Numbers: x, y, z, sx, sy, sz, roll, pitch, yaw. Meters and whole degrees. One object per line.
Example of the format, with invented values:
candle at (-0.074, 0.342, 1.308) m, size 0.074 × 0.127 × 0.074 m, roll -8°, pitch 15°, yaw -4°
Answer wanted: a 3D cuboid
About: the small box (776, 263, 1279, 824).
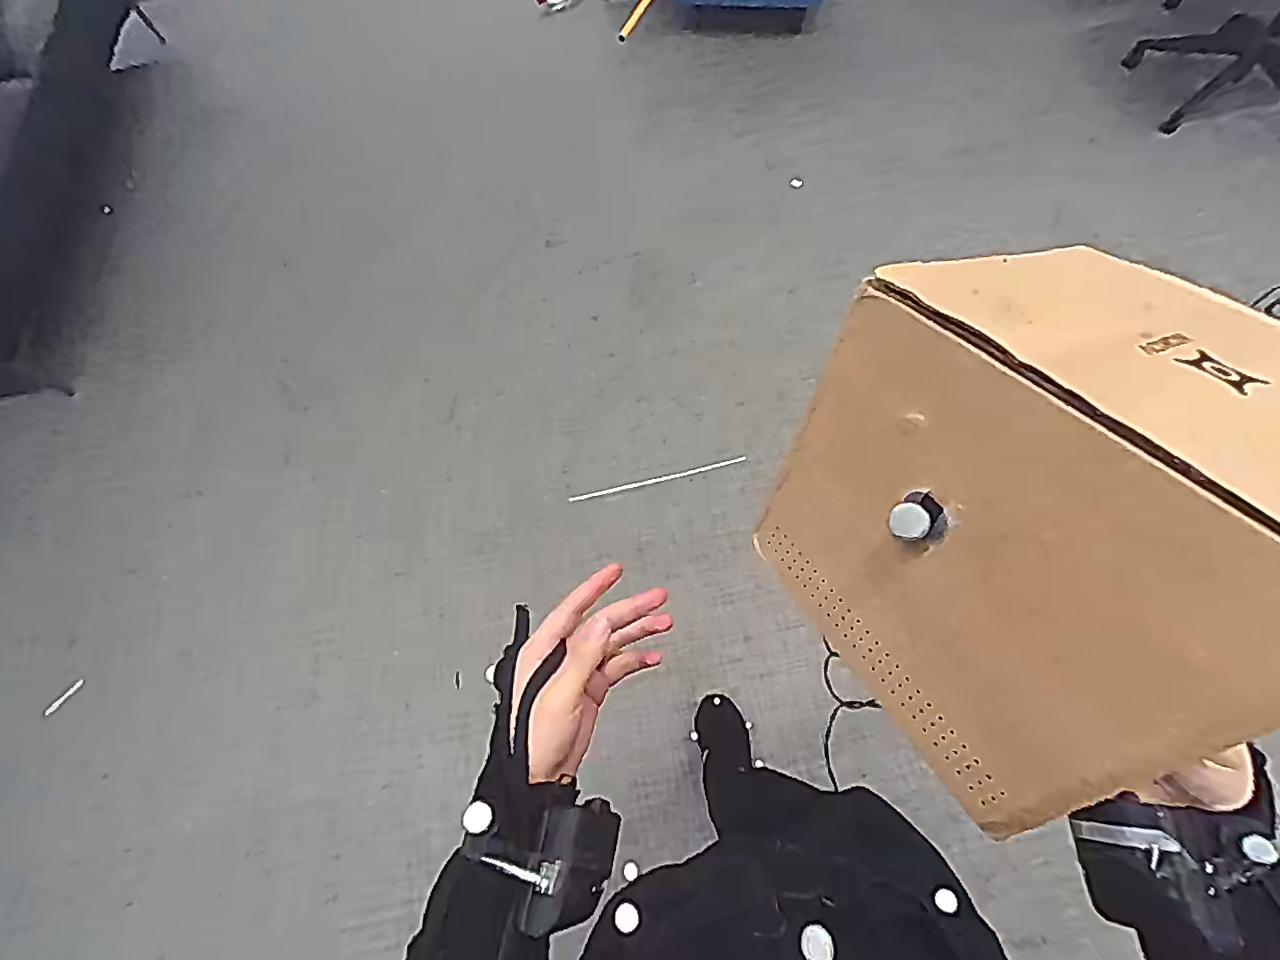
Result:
small box at (0.194, 0.019, 0.258) m, size 0.168 × 0.176 × 0.179 m, roll -17°, pitch 50°, yaw -25°
